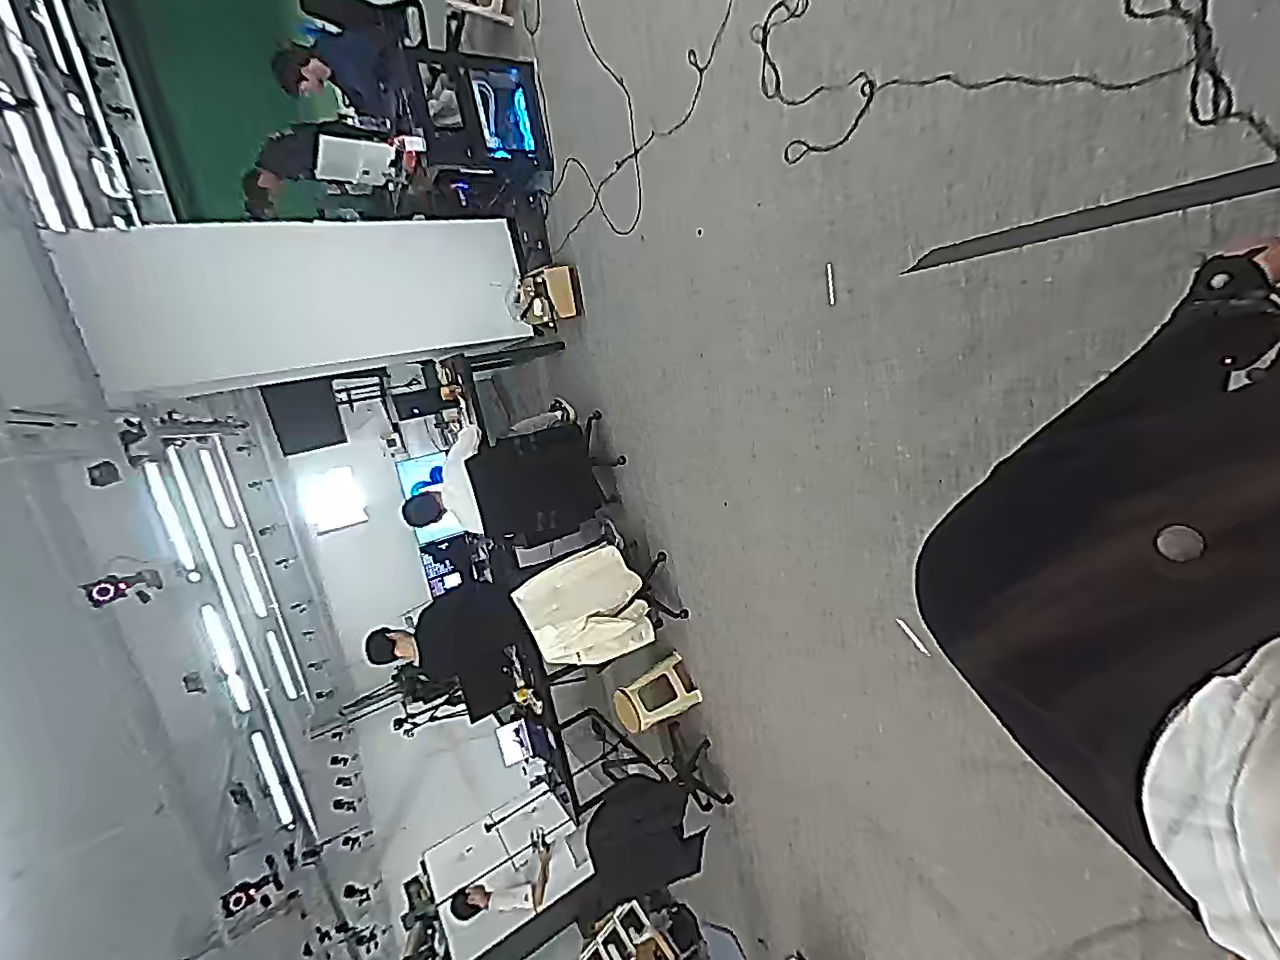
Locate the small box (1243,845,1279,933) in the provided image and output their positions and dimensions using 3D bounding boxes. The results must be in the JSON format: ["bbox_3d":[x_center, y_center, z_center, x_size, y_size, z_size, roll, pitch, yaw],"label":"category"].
[{"bbox_3d":[0.981,0.673,0.754,0.168,0.176,0.179,4,110,57],"label":"small box"}]
